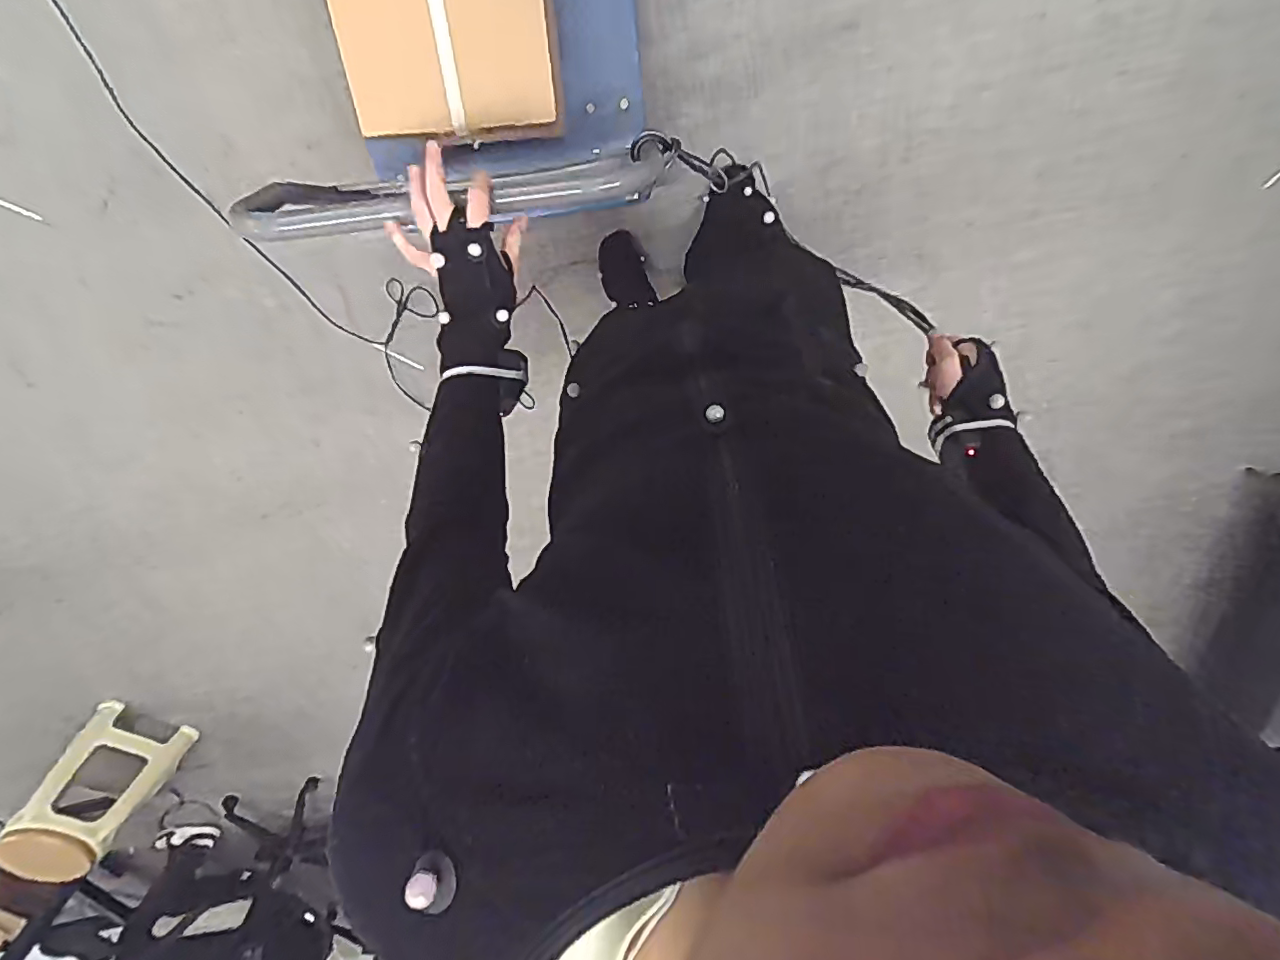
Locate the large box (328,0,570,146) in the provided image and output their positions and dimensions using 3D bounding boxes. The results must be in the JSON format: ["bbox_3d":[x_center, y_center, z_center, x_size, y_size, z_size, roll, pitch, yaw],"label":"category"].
[{"bbox_3d":[-0.304,-0.803,0.885,0.320,0.320,0.408,-5,119,-1],"label":"large box"}]
